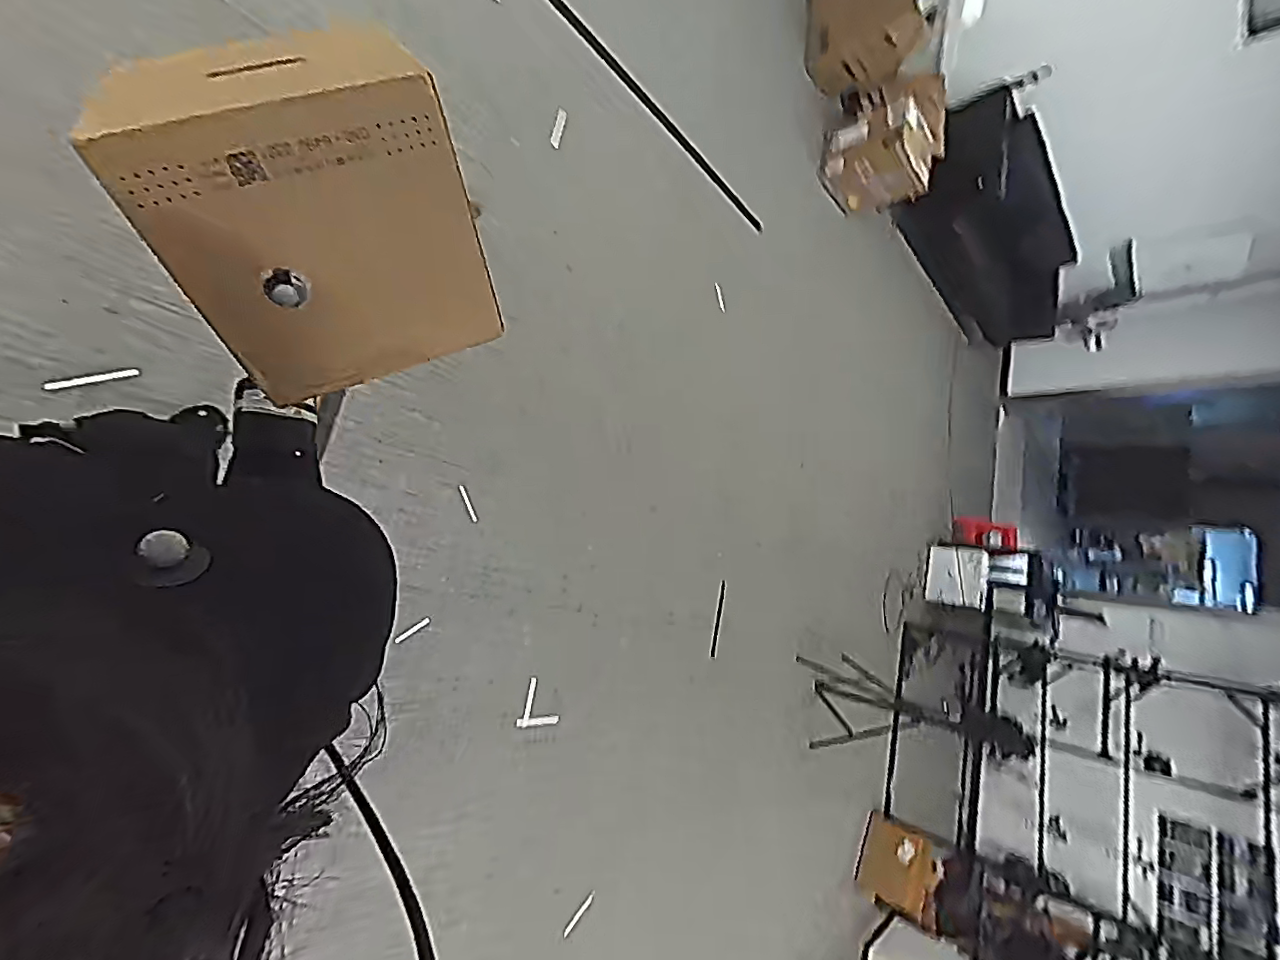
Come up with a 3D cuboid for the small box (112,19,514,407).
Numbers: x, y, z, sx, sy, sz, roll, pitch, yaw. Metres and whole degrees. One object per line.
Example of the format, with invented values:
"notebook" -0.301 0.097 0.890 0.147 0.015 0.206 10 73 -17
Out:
"small box" -0.205 -0.186 0.370 0.168 0.179 0.176 -21 142 -17
